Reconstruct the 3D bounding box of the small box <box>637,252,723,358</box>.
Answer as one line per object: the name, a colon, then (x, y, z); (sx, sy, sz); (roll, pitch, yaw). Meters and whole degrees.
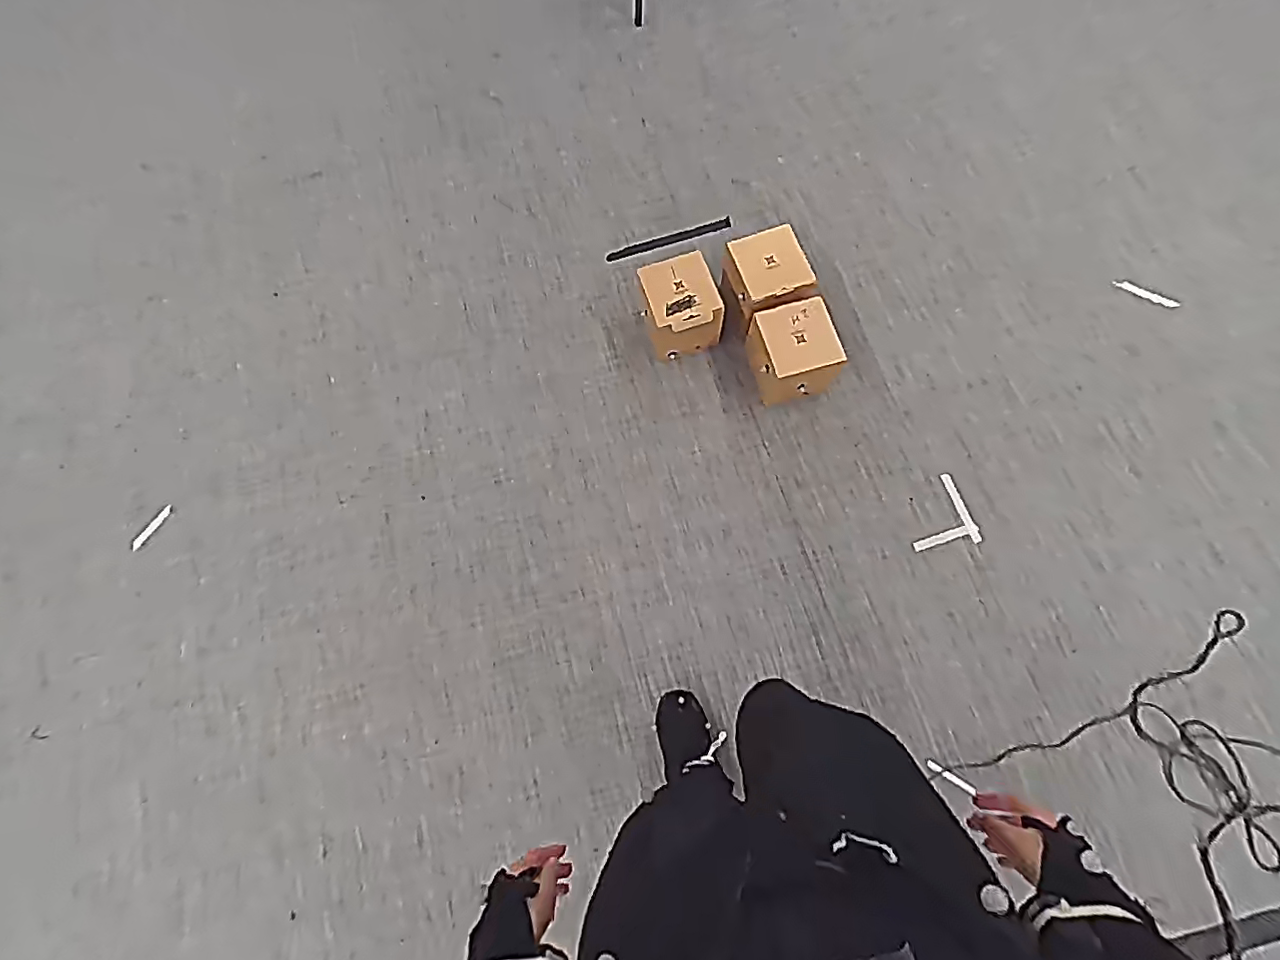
small box: (0.100, -0.428, 1.359); (0.168, 0.176, 0.179); (-18, 74, -2)
